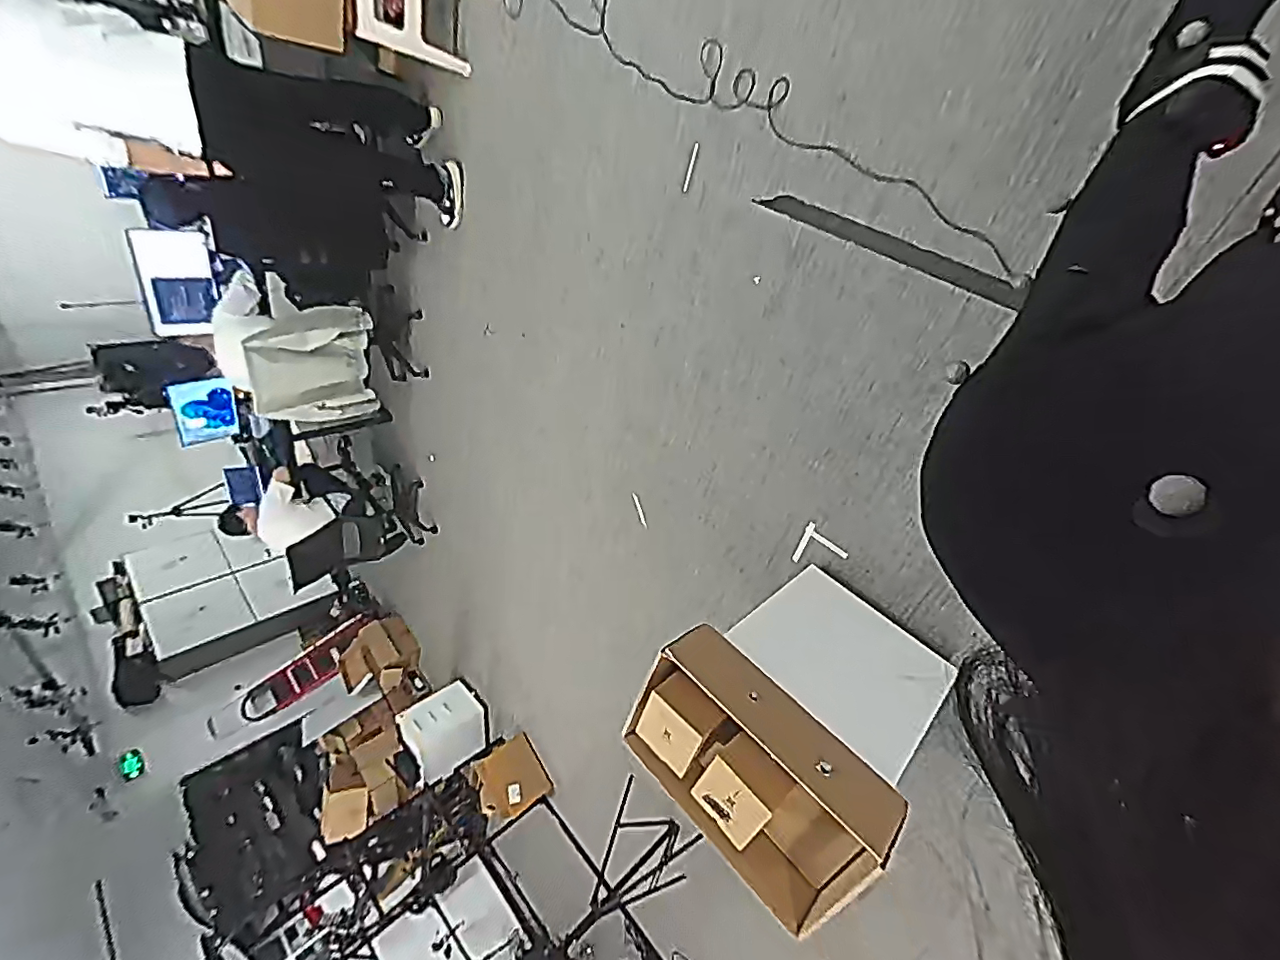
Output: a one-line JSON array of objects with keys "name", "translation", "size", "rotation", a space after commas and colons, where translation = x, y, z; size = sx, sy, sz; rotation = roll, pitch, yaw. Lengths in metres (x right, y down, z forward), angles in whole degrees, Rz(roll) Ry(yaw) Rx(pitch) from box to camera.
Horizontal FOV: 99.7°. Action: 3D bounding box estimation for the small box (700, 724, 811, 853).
[{"name": "small box", "translation": [0.278, 0.729, 1.292], "size": [0.168, 0.176, 0.179], "rotation": [40, 126, 29]}]
